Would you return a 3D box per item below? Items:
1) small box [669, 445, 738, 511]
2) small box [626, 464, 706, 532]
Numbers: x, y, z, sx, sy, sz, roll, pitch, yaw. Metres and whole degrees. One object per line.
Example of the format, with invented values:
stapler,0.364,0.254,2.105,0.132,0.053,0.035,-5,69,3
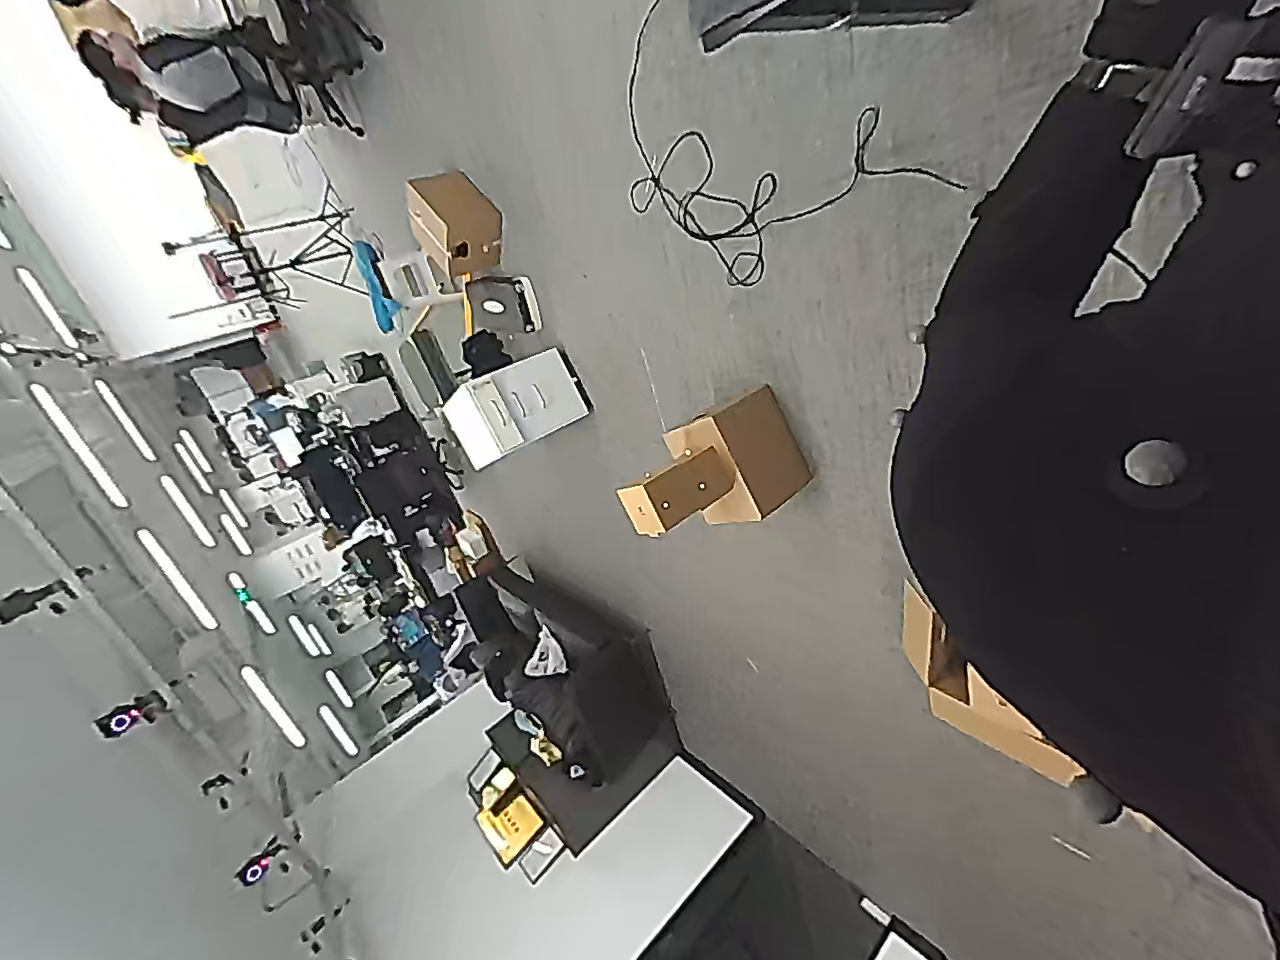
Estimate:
small box,0.214,-0.003,1.903,0.168,0.176,0.179,-14,104,58
small box,0.089,0.057,1.818,0.168,0.176,0.179,-13,106,57
